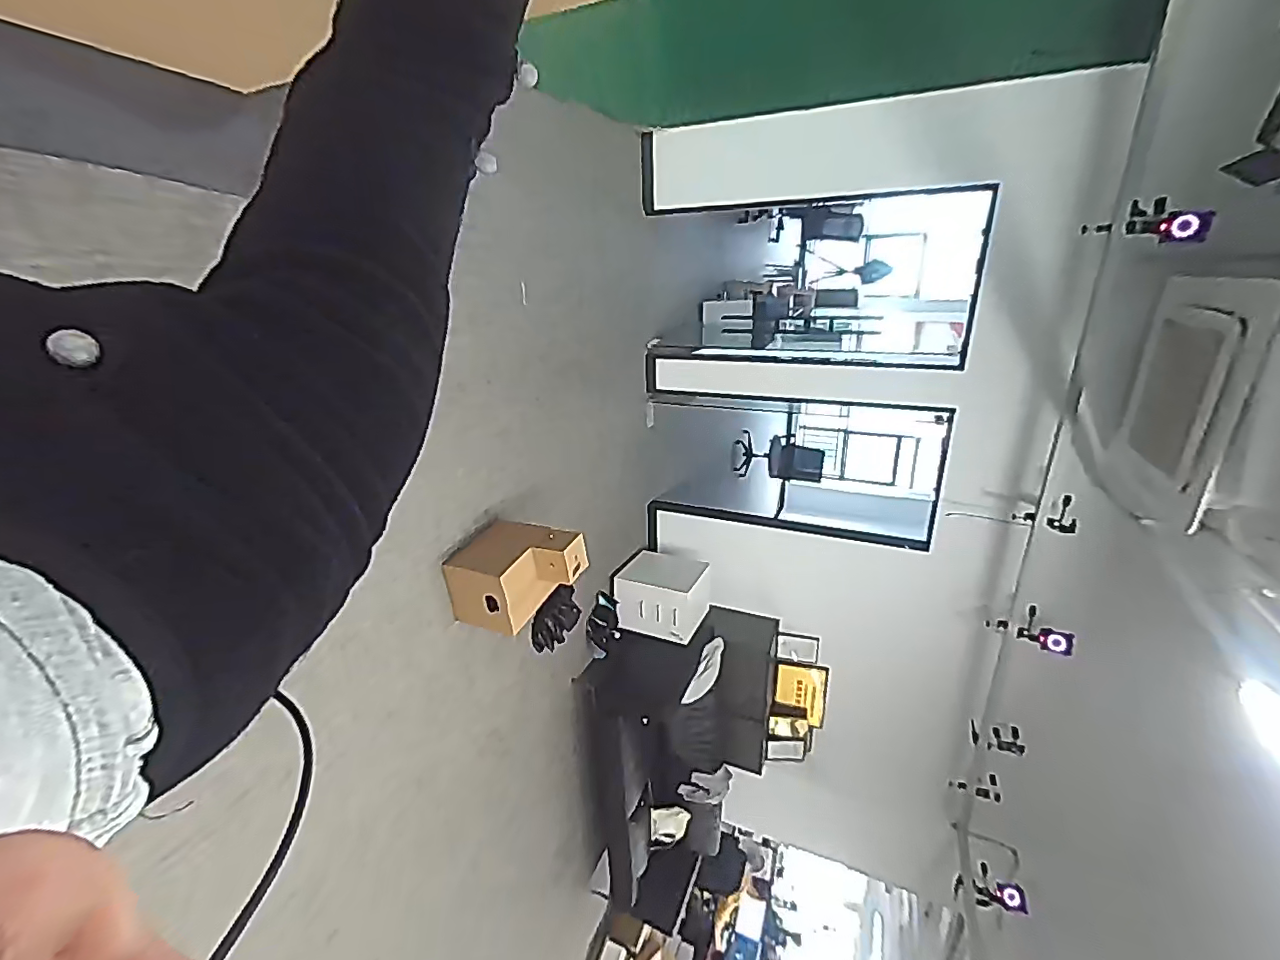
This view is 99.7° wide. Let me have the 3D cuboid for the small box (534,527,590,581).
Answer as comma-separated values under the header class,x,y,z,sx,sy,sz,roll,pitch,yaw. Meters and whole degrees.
class,x,y,z,sx,sy,sz,roll,pitch,yaw
small box,-0.348,0.324,2.416,0.168,0.176,0.179,-46,134,-54
